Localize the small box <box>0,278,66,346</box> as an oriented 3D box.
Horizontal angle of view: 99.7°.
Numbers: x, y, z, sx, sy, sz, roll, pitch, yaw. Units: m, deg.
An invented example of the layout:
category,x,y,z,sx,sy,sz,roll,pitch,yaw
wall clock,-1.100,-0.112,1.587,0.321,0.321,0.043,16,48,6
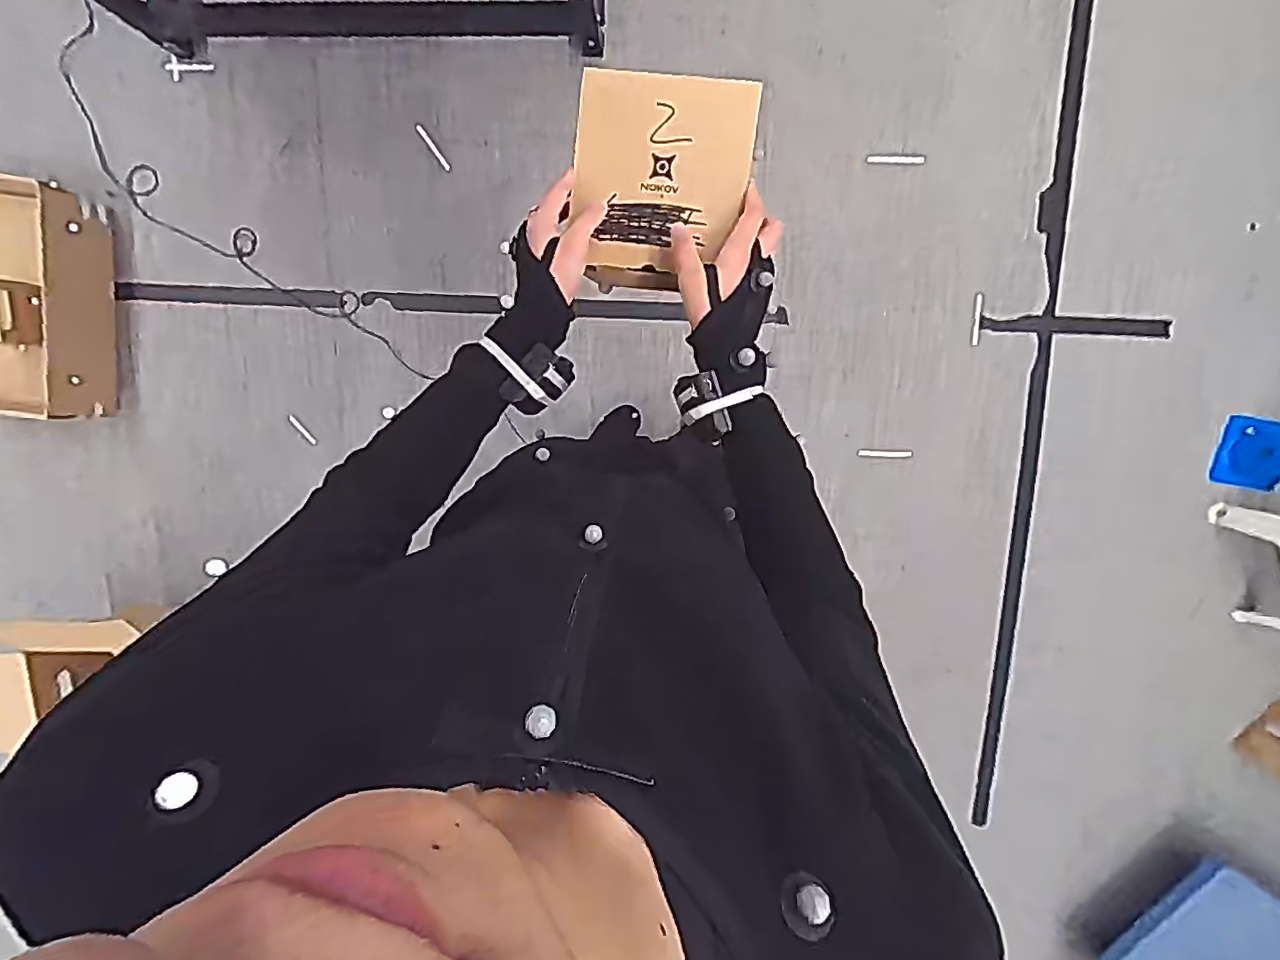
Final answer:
category,x,y,z,sx,sy,sz,roll,pitch,yaw
small box,-1.734,-0.460,1.478,0.179,0.176,0.168,3,98,2
